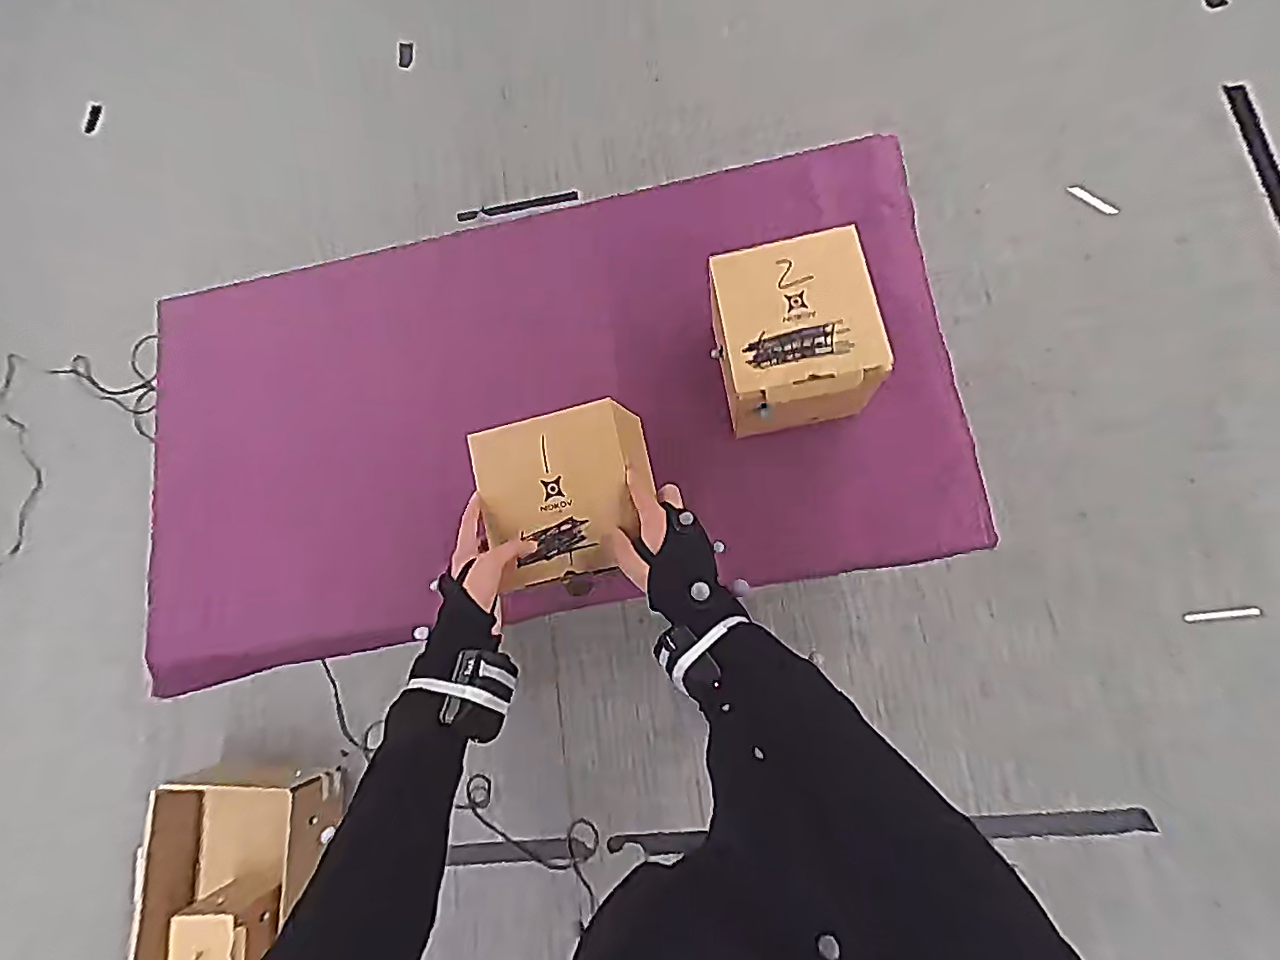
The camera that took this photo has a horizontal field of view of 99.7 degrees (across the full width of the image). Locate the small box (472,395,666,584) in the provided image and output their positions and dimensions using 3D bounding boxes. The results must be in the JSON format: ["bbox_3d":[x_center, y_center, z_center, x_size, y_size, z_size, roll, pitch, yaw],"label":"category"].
[{"bbox_3d":[-0.072,0.012,0.648,0.168,0.176,0.179,-13,86,10],"label":"small box"}]

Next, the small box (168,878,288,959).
[{"bbox_3d":[-0.997,1.106,1.320,0.179,0.176,0.168,-8,77,7],"label":"small box"}]
